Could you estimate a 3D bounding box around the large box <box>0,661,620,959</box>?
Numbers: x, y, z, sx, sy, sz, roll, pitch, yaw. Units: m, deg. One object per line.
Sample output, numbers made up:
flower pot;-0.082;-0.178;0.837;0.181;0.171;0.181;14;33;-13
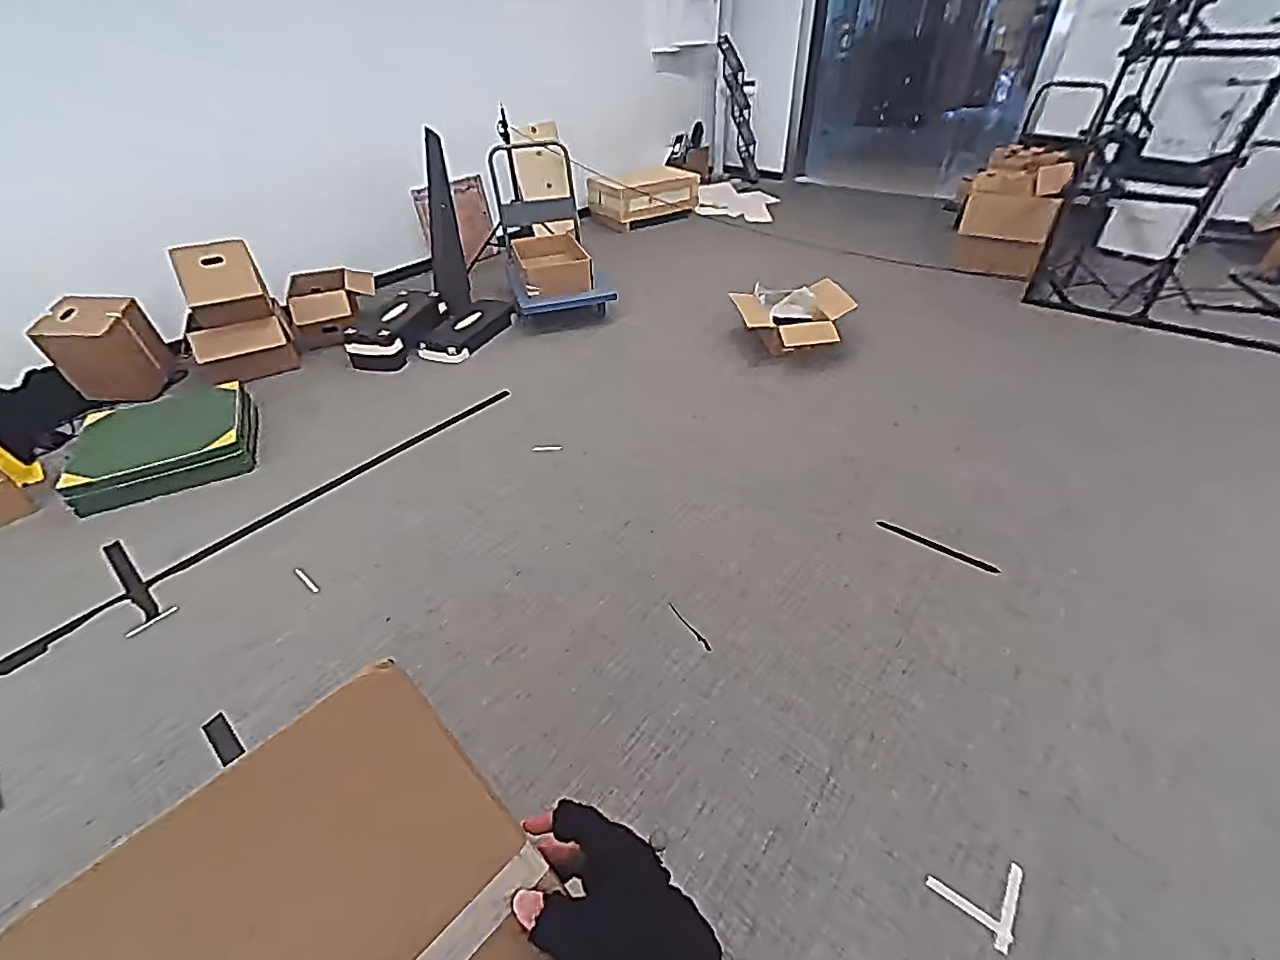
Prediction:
large box;-0.255;0.396;0.367;0.408;0.320;0.320;-36;84;-31
